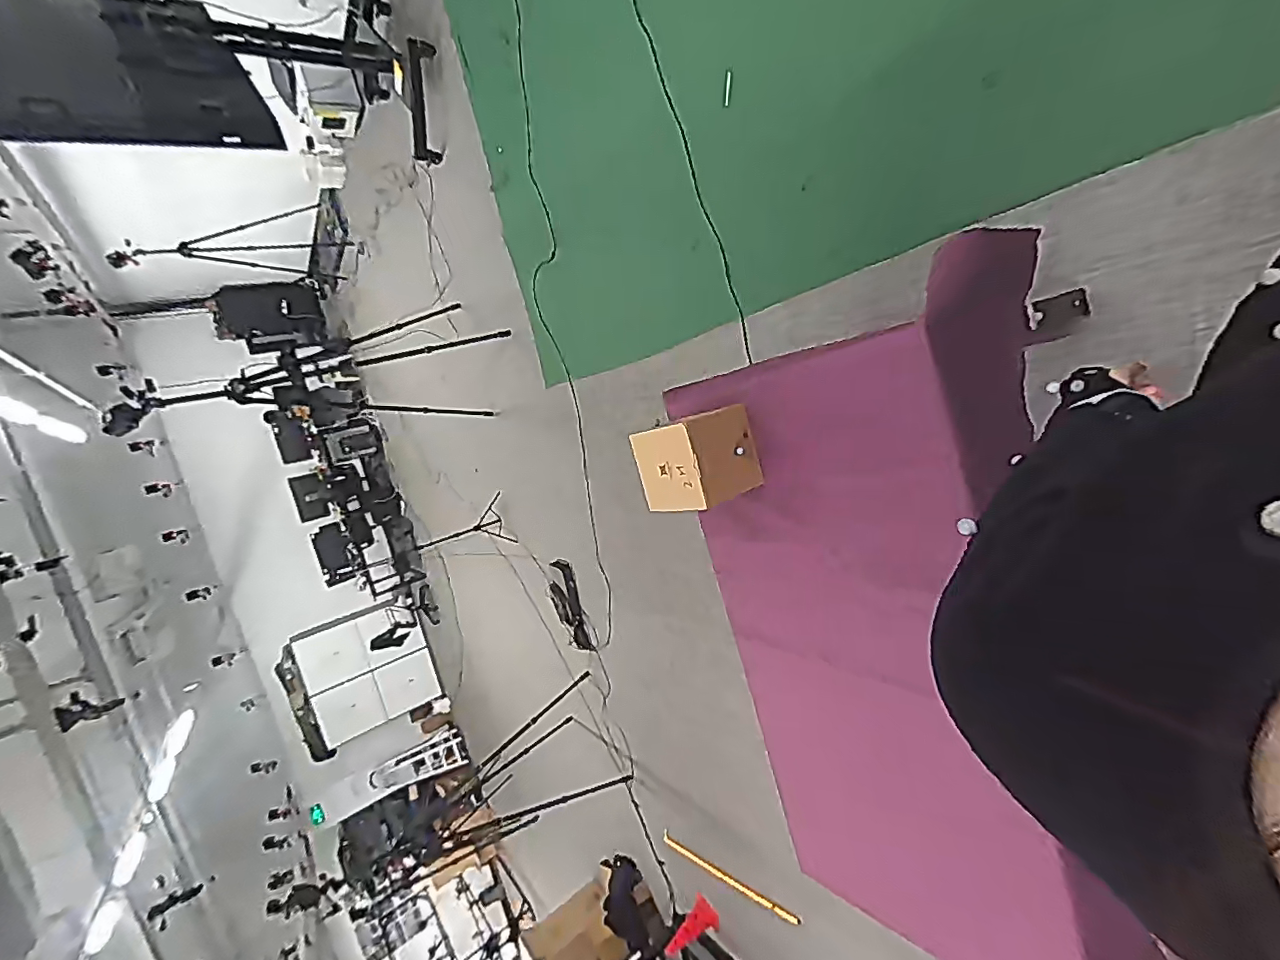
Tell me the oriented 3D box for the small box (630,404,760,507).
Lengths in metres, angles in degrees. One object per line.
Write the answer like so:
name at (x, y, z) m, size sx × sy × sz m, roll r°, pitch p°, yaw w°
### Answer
small box at (0.111, -0.048, 1.092) m, size 0.179 × 0.176 × 0.168 m, roll -6°, pitch 102°, yaw 52°
